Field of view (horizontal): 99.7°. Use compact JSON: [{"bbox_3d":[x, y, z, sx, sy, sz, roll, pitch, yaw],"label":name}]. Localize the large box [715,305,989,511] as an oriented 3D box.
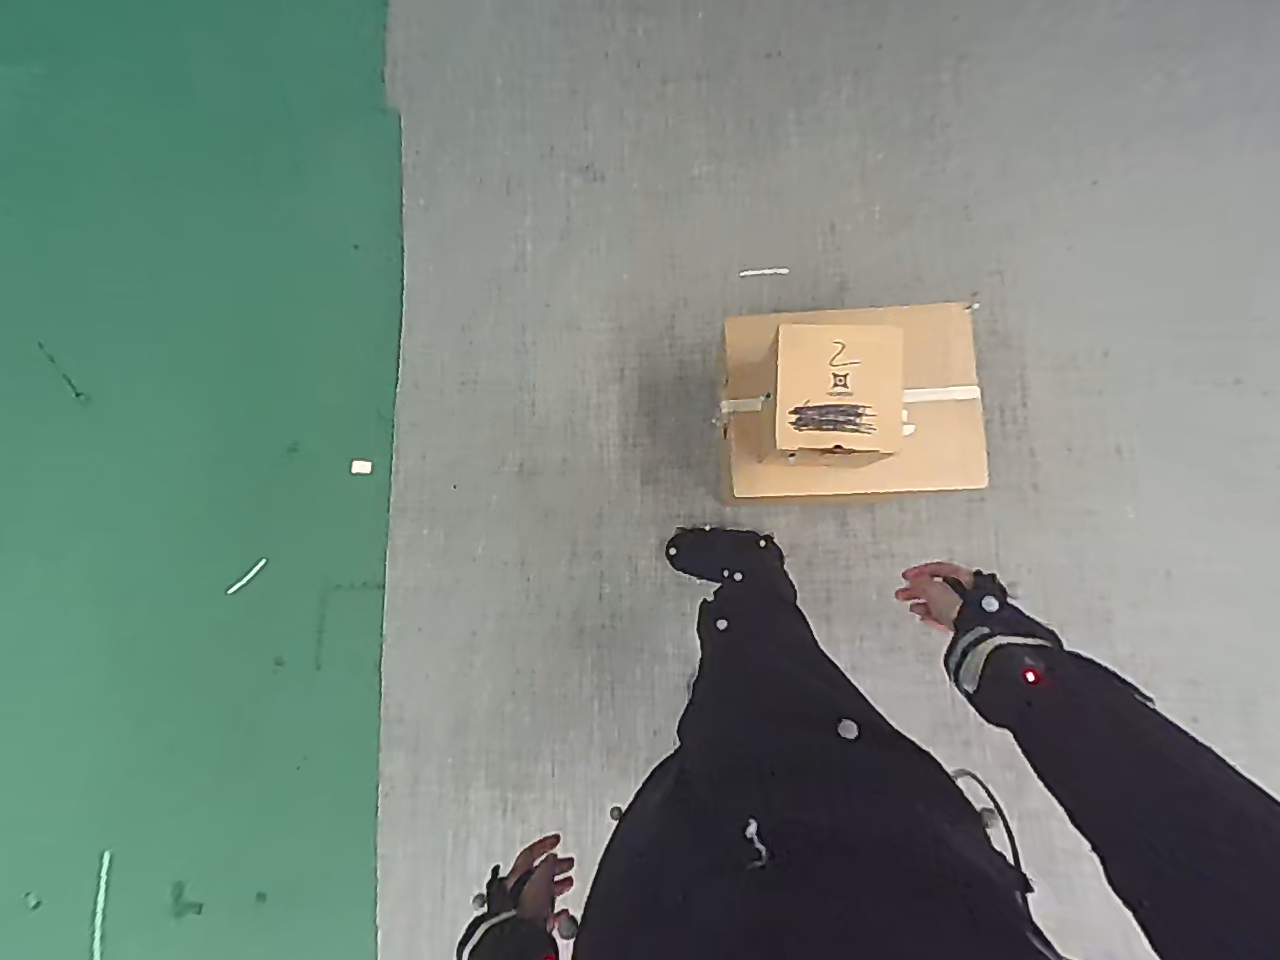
[{"bbox_3d":[0.361,-0.111,1.035,0.408,0.320,0.320,-2,85,4],"label":"large box"}]
